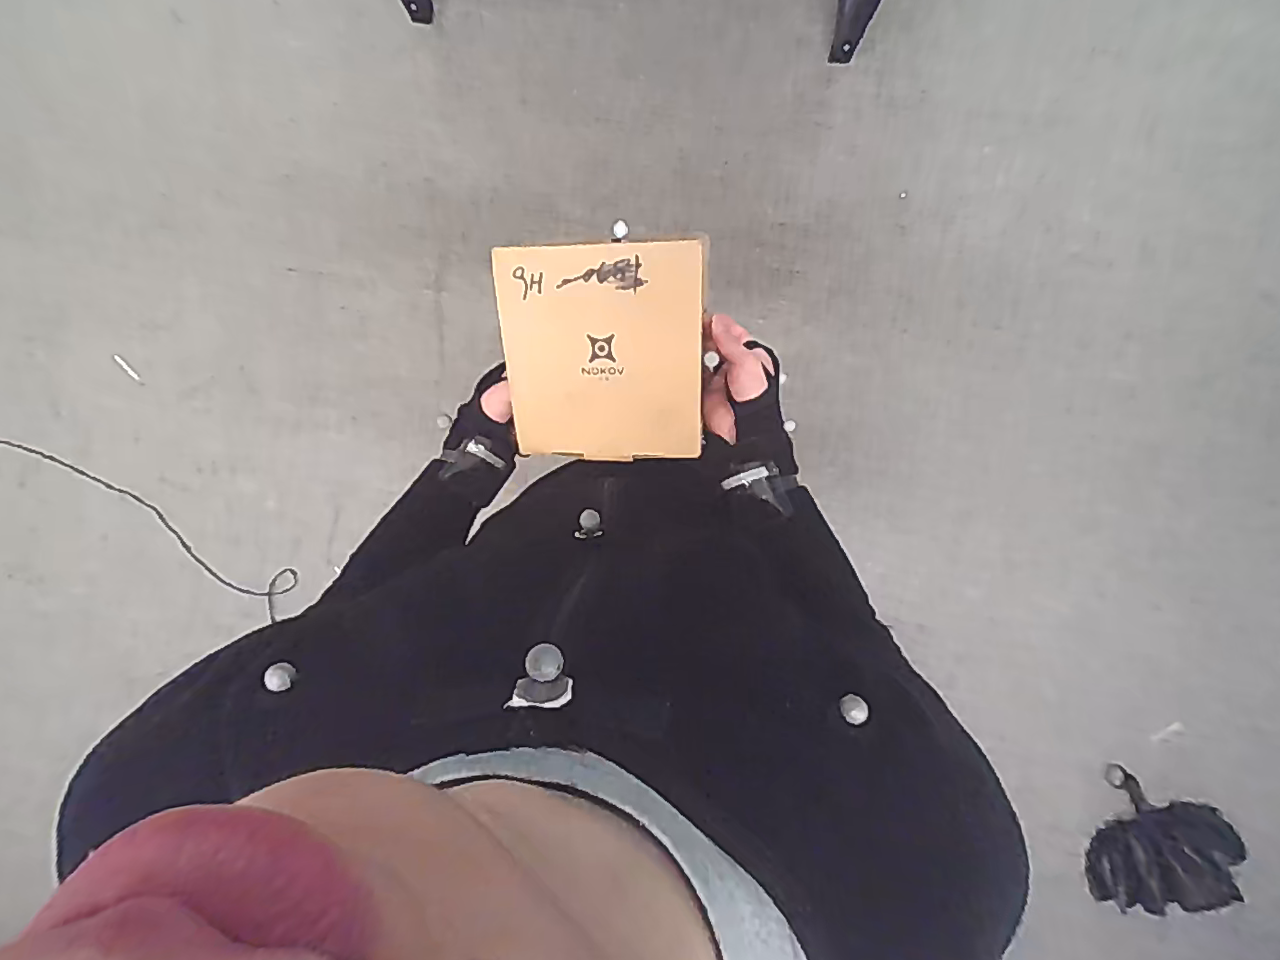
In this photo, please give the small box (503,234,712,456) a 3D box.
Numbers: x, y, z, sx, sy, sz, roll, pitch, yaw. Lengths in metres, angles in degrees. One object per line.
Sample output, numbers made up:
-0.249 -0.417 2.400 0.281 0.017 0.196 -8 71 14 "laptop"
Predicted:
-0.017 -0.138 0.527 0.168 0.176 0.179 2 117 7 "small box"
